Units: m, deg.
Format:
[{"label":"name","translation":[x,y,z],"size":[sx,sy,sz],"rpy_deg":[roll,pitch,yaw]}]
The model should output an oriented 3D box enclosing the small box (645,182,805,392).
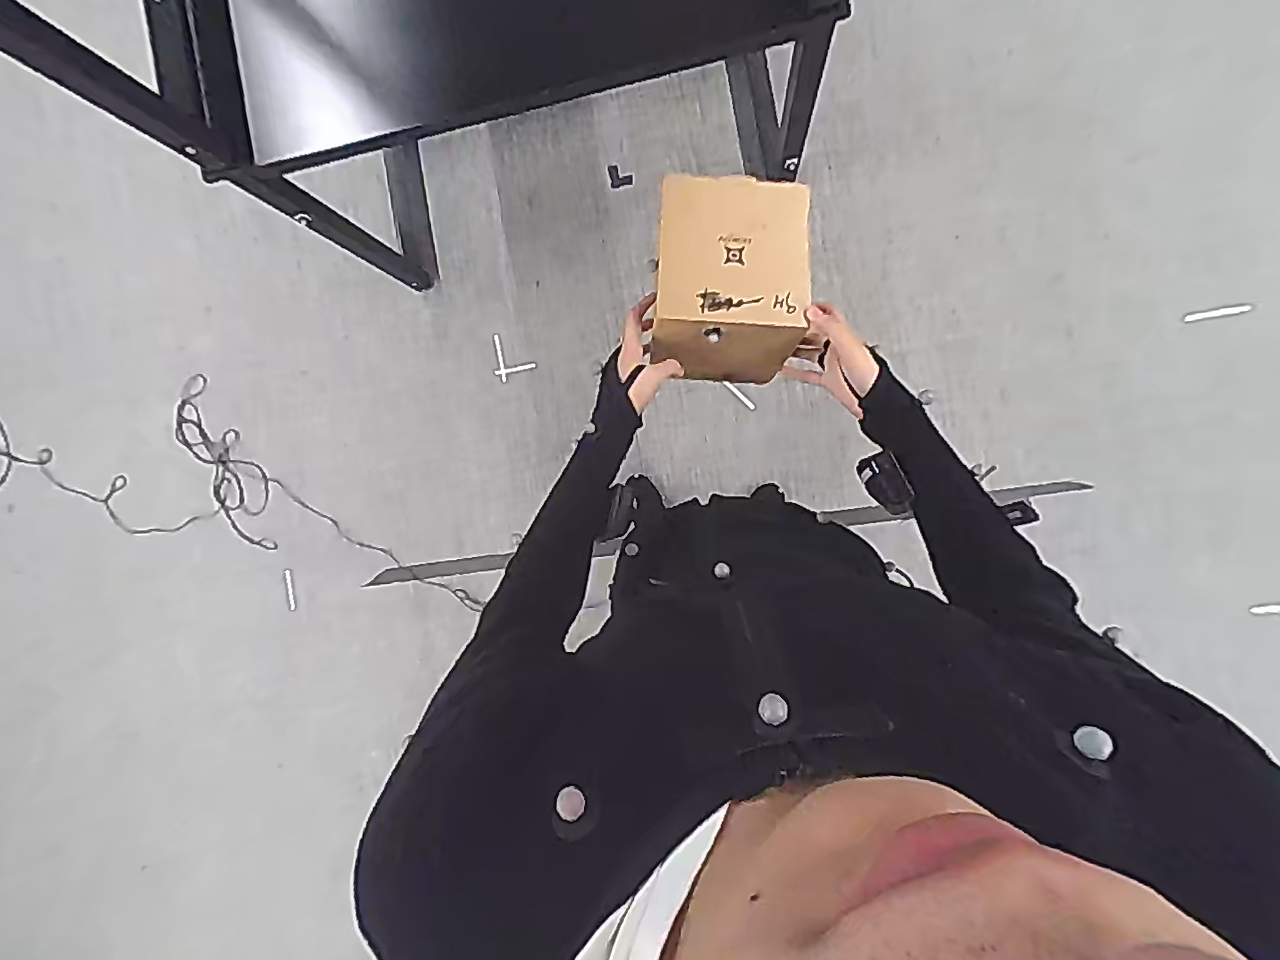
[{"label":"small box","translation":[0.095,-0.226,0.665],"size":[0.168,0.176,0.179],"rpy_deg":[4,77,-1]}]
